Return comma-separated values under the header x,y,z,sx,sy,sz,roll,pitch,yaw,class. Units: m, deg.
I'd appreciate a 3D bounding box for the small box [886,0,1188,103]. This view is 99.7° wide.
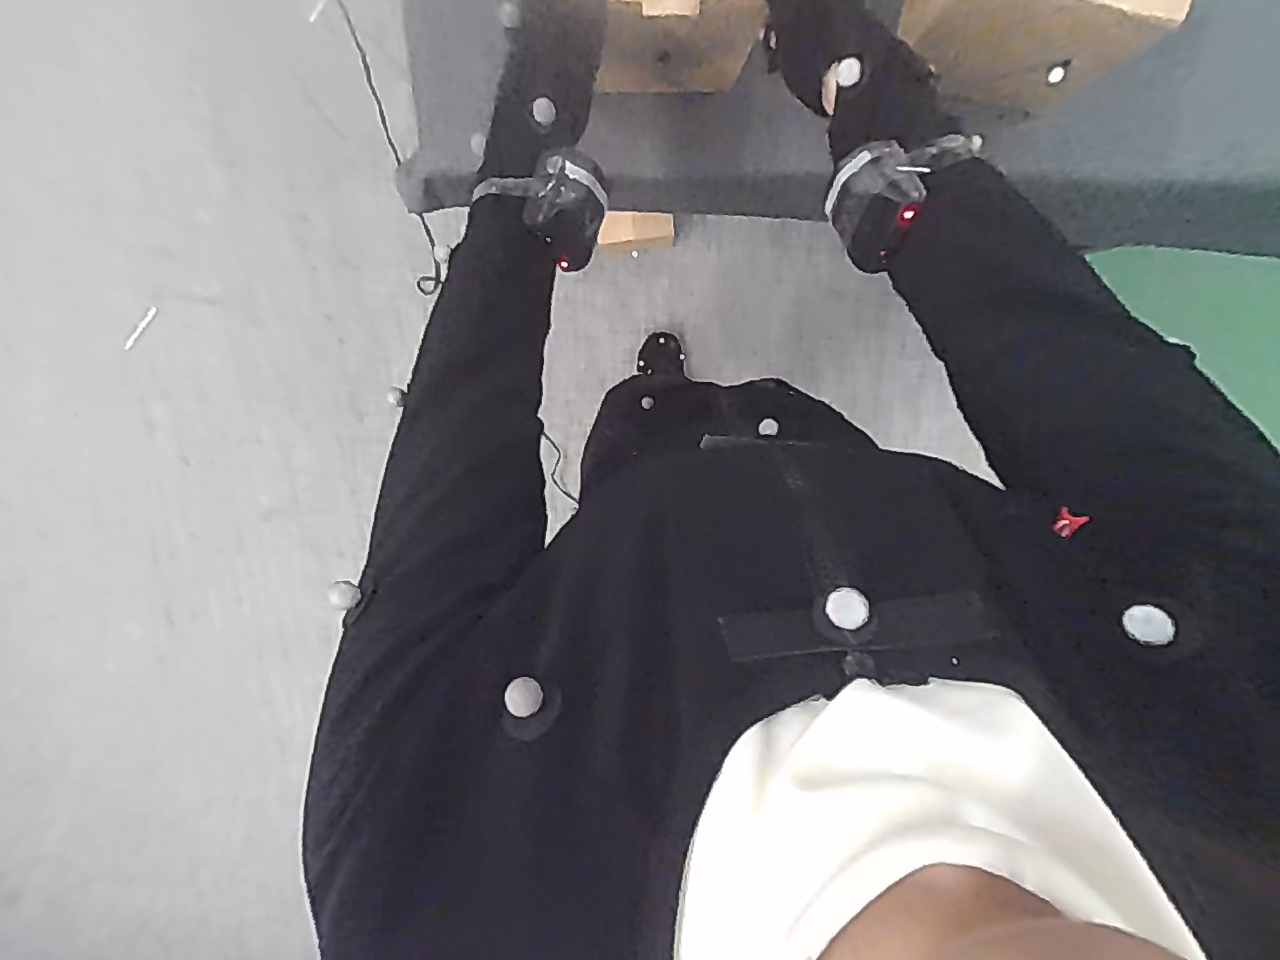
x,y,z,sx,sy,sz,roll,pitch,yaw,class
0.357,-0.471,0.481,0.179,0.176,0.168,10,102,-1,small box

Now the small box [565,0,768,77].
x,y,z,sx,sy,sz,roll,pitch,yaw,class
0.018,-0.479,0.467,0.168,0.176,0.179,-2,107,-3,small box
